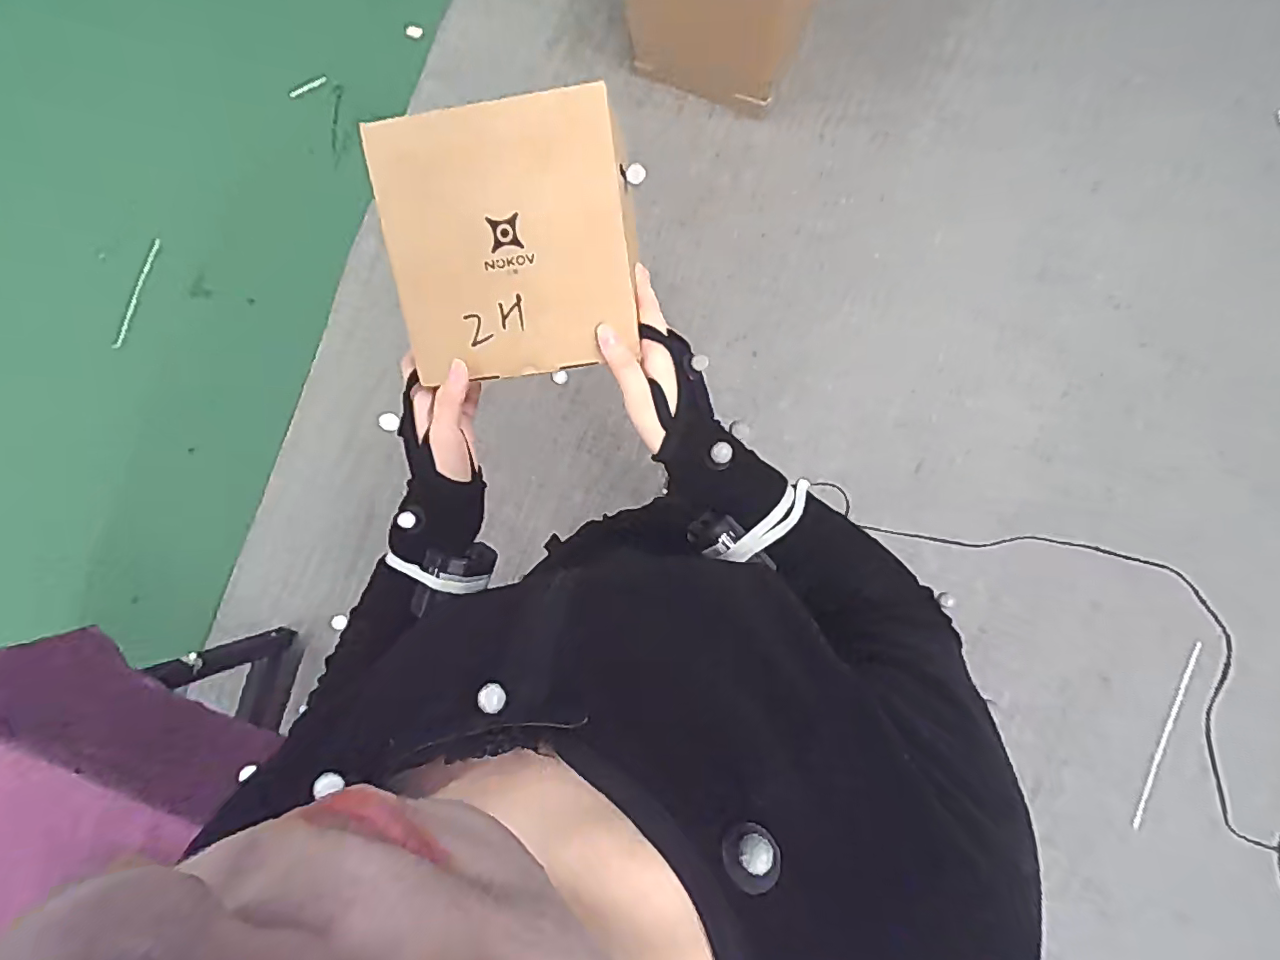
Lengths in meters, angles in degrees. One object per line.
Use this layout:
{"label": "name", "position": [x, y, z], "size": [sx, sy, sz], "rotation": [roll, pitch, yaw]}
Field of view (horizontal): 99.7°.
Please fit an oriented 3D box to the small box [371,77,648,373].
{"label": "small box", "position": [-0.085, -0.188, 0.449], "size": [0.168, 0.176, 0.179], "rotation": [-5, 105, 5]}
